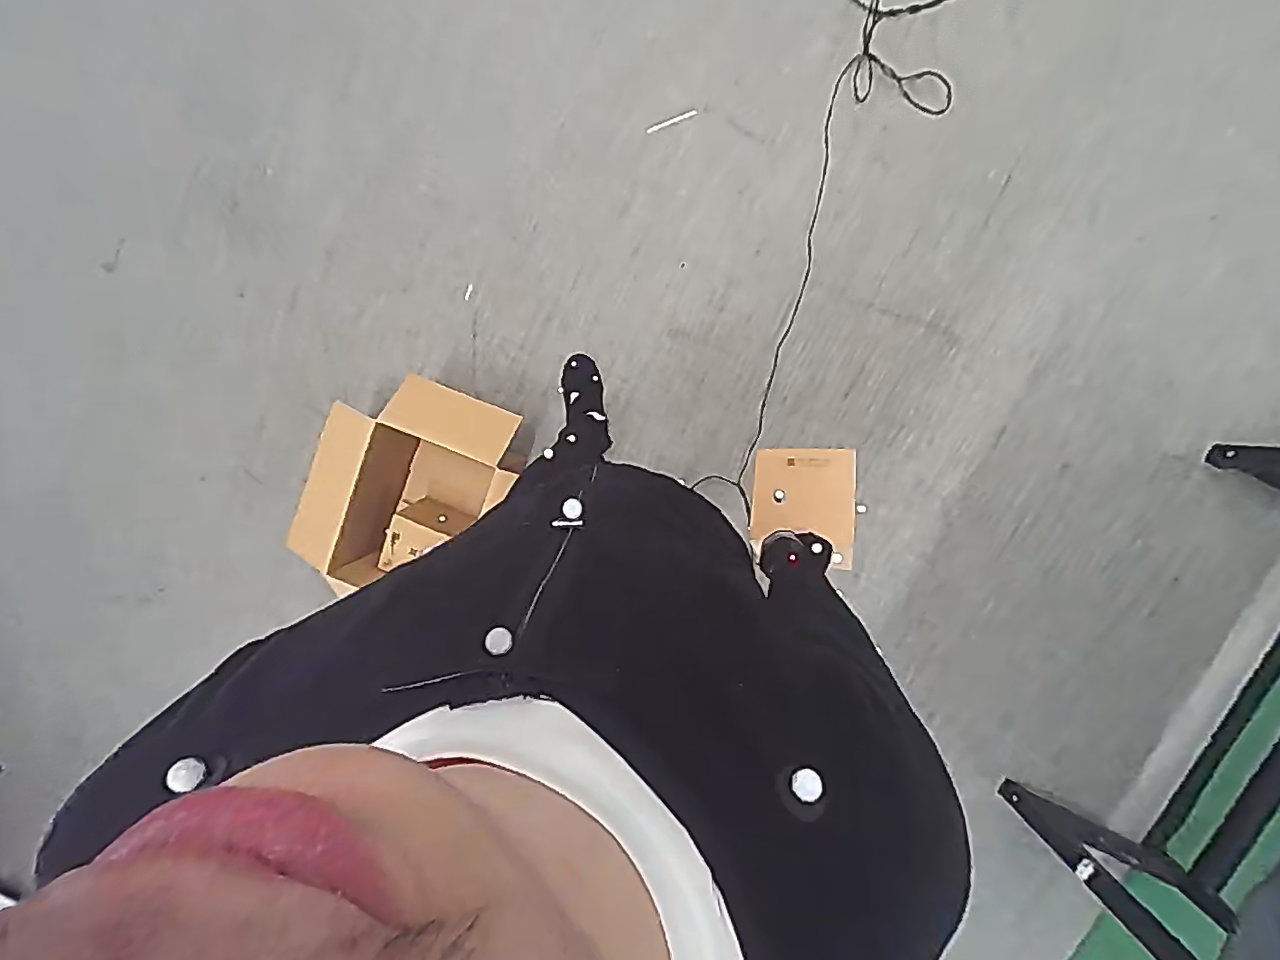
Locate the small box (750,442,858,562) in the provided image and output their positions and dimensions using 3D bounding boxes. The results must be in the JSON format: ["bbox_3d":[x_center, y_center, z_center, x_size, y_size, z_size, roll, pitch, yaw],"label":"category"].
[{"bbox_3d":[0.295,0.040,0.965,0.168,0.179,0.176,4,71,22],"label":"small box"}]
